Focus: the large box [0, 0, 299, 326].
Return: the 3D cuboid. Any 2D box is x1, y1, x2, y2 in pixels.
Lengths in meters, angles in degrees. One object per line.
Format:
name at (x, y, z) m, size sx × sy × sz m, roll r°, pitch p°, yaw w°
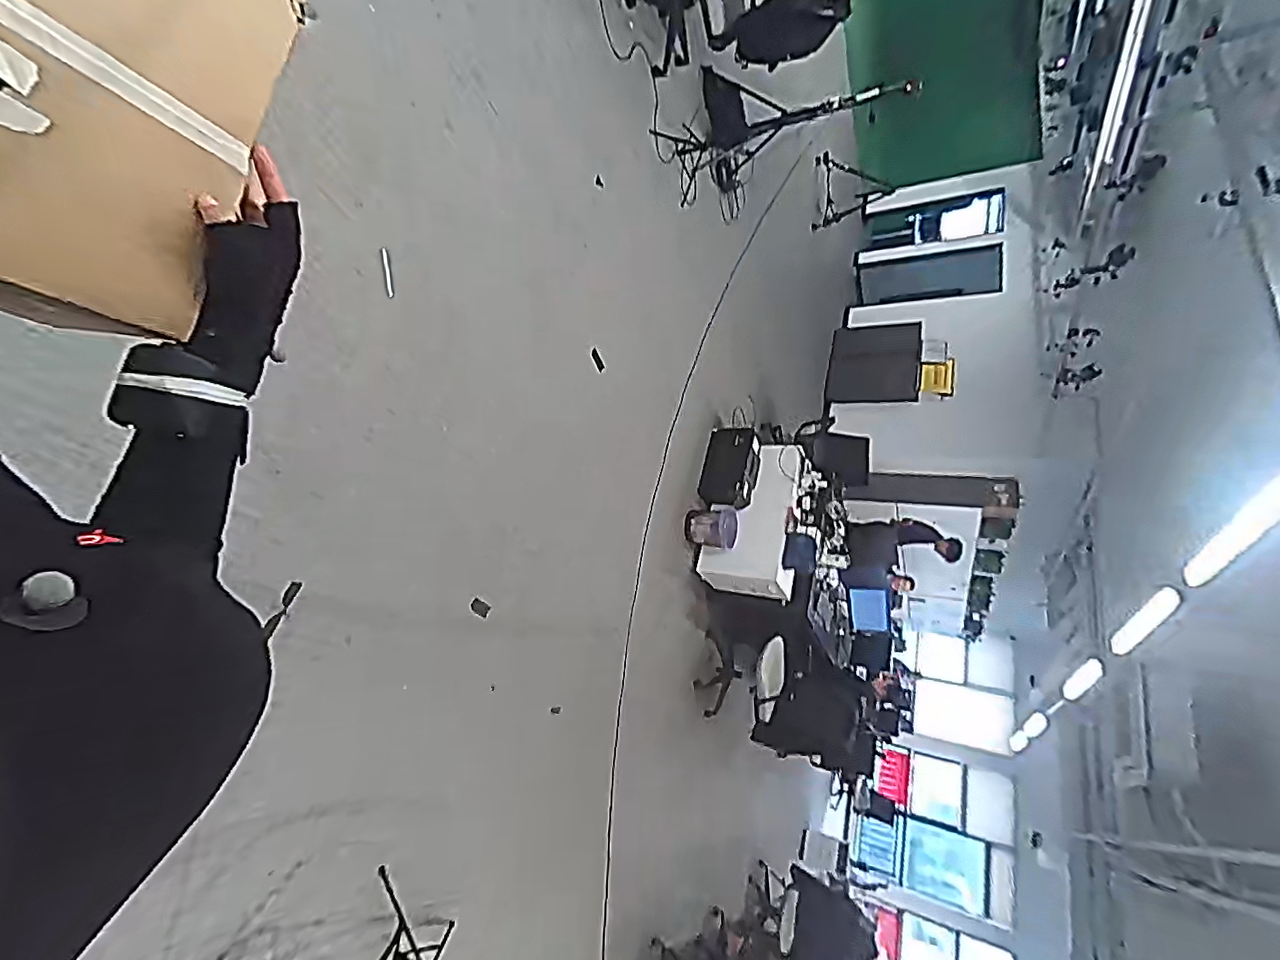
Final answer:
large box at (-0.546, -0.332, 0.353) m, size 0.408 × 0.320 × 0.320 m, roll 23°, pitch 82°, yaw -61°
